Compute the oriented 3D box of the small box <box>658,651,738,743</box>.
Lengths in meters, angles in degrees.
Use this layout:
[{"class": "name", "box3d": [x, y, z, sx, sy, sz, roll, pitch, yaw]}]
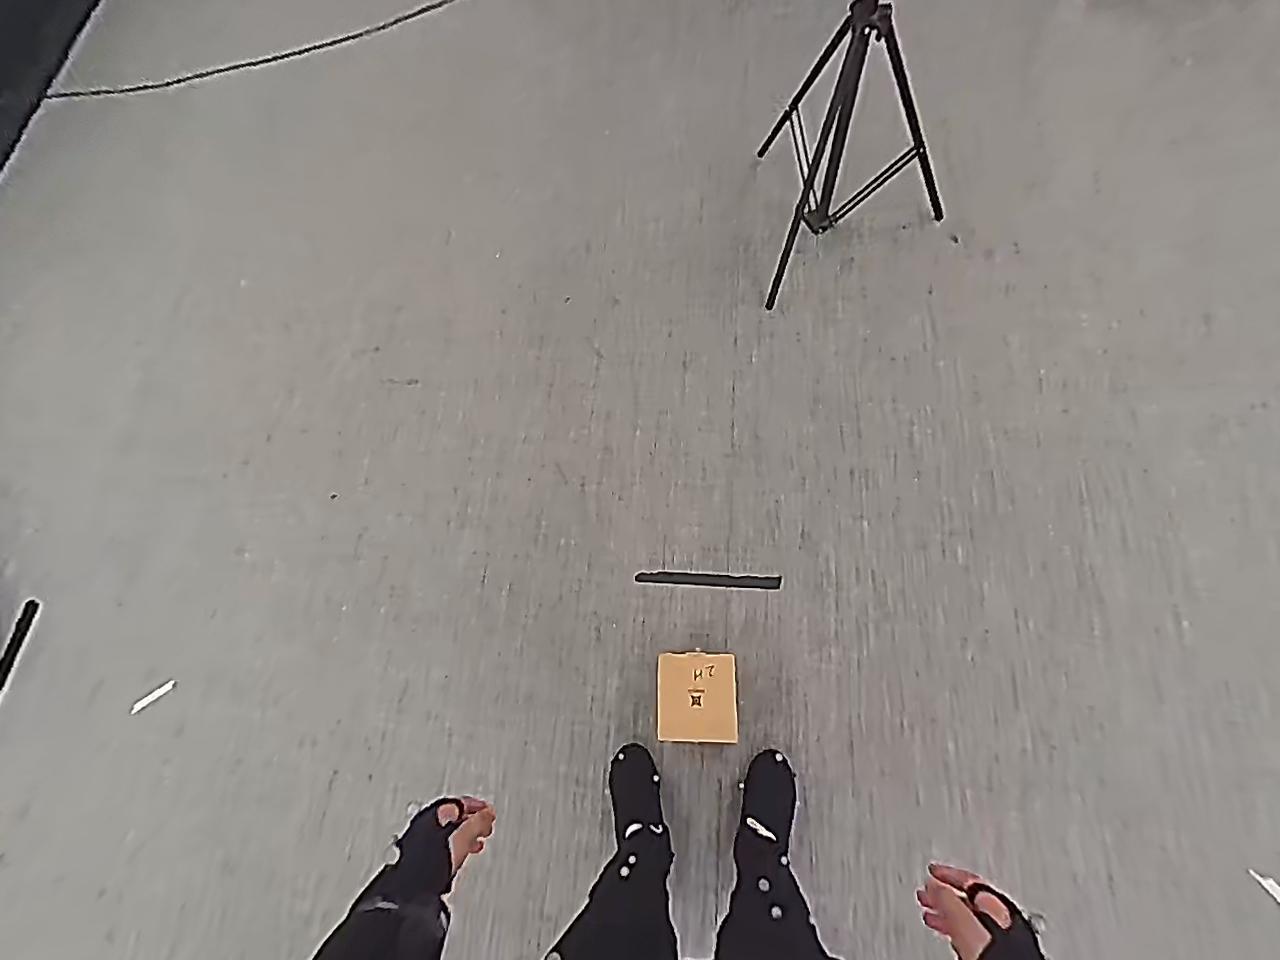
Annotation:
[{"class": "small box", "box3d": [0.131, 0.473, 1.198, 0.168, 0.176, 0.179, -2, 70, 8]}]
